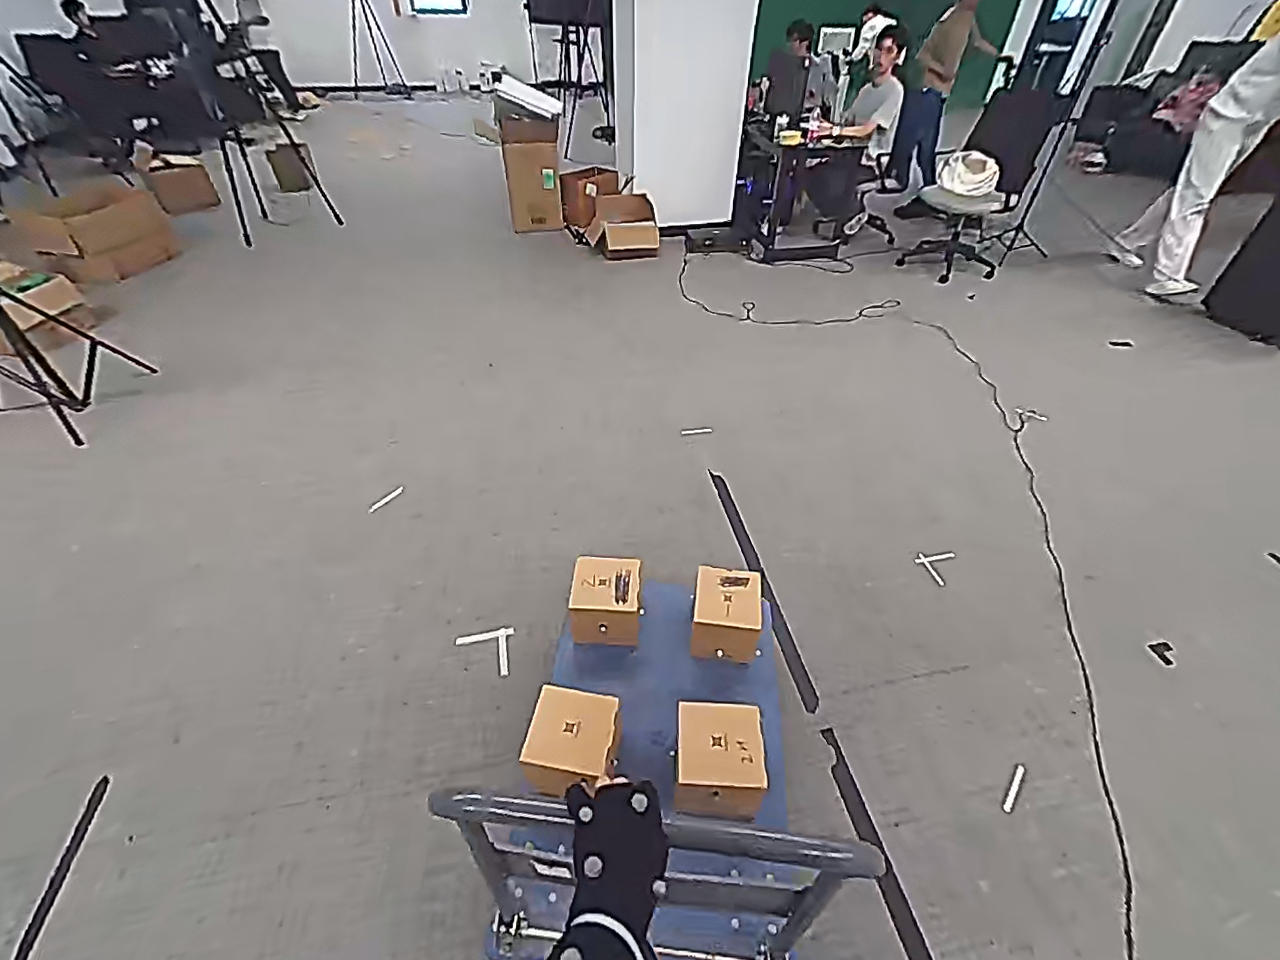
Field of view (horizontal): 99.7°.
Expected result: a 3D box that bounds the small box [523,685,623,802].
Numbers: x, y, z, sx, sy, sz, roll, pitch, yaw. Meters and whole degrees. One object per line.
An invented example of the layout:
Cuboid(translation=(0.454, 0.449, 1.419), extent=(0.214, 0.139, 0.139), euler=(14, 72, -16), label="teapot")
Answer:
Cuboid(translation=(-0.139, 0.578, 1.183), extent=(0.179, 0.176, 0.168), euler=(8, 42, 6), label="small box")

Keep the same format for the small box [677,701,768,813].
Cuboid(translation=(0.170, 0.597, 1.162), extent=(0.179, 0.176, 0.168), euler=(2, 42, 2), label="small box")

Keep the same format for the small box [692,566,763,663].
Cuboid(translation=(0.228, 0.354, 1.430), extent=(0.168, 0.176, 0.179), euler=(6, 44, 6), label="small box")
